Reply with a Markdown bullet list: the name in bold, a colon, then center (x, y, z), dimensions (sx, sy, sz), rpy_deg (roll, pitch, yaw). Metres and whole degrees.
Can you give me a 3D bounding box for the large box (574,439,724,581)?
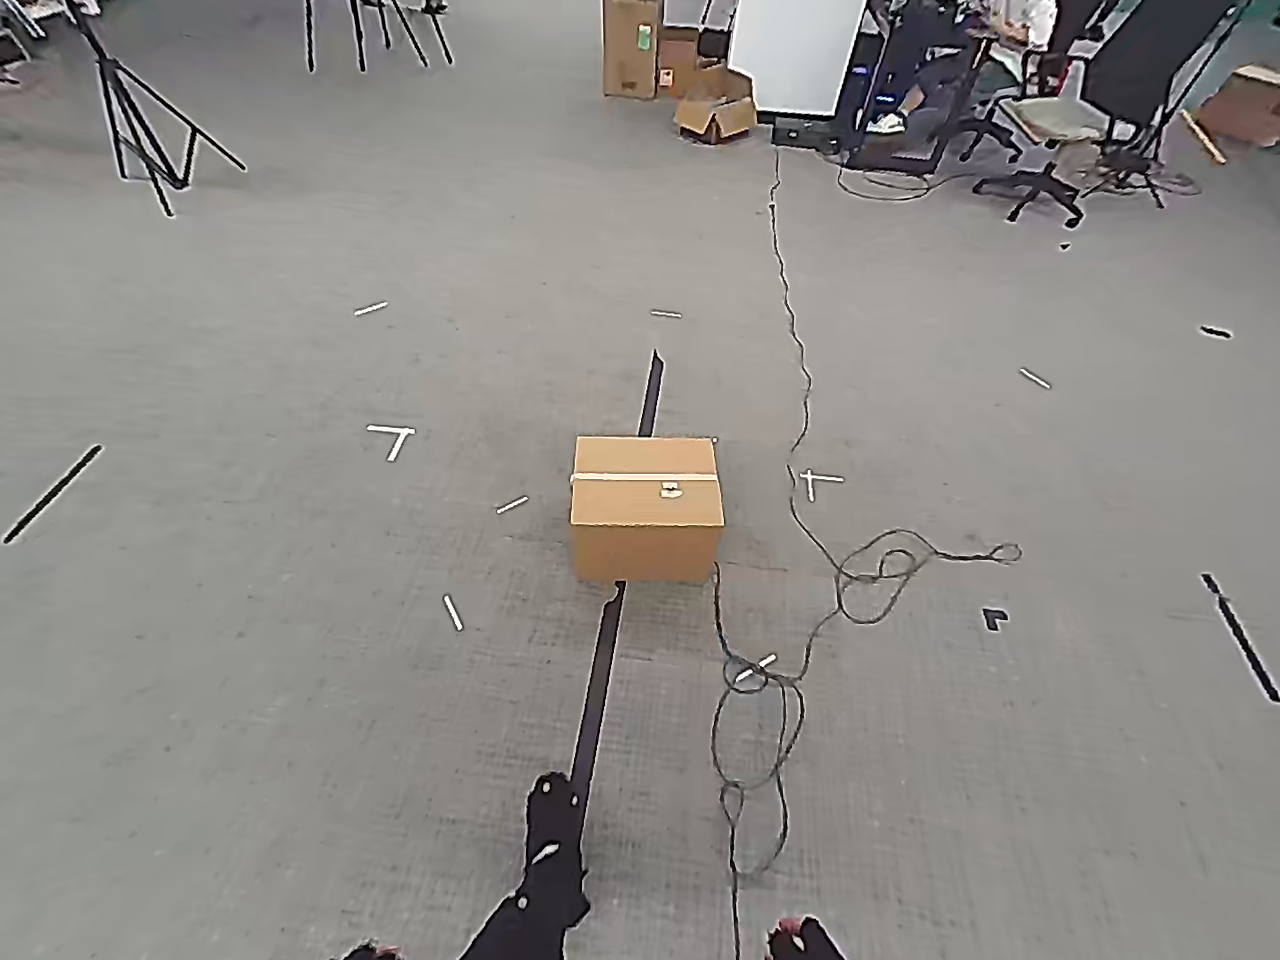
- **large box**: center (0.012, 0.096, 1.621), dimensions (0.408, 0.320, 0.320), rpy_deg (2, 51, -3)
